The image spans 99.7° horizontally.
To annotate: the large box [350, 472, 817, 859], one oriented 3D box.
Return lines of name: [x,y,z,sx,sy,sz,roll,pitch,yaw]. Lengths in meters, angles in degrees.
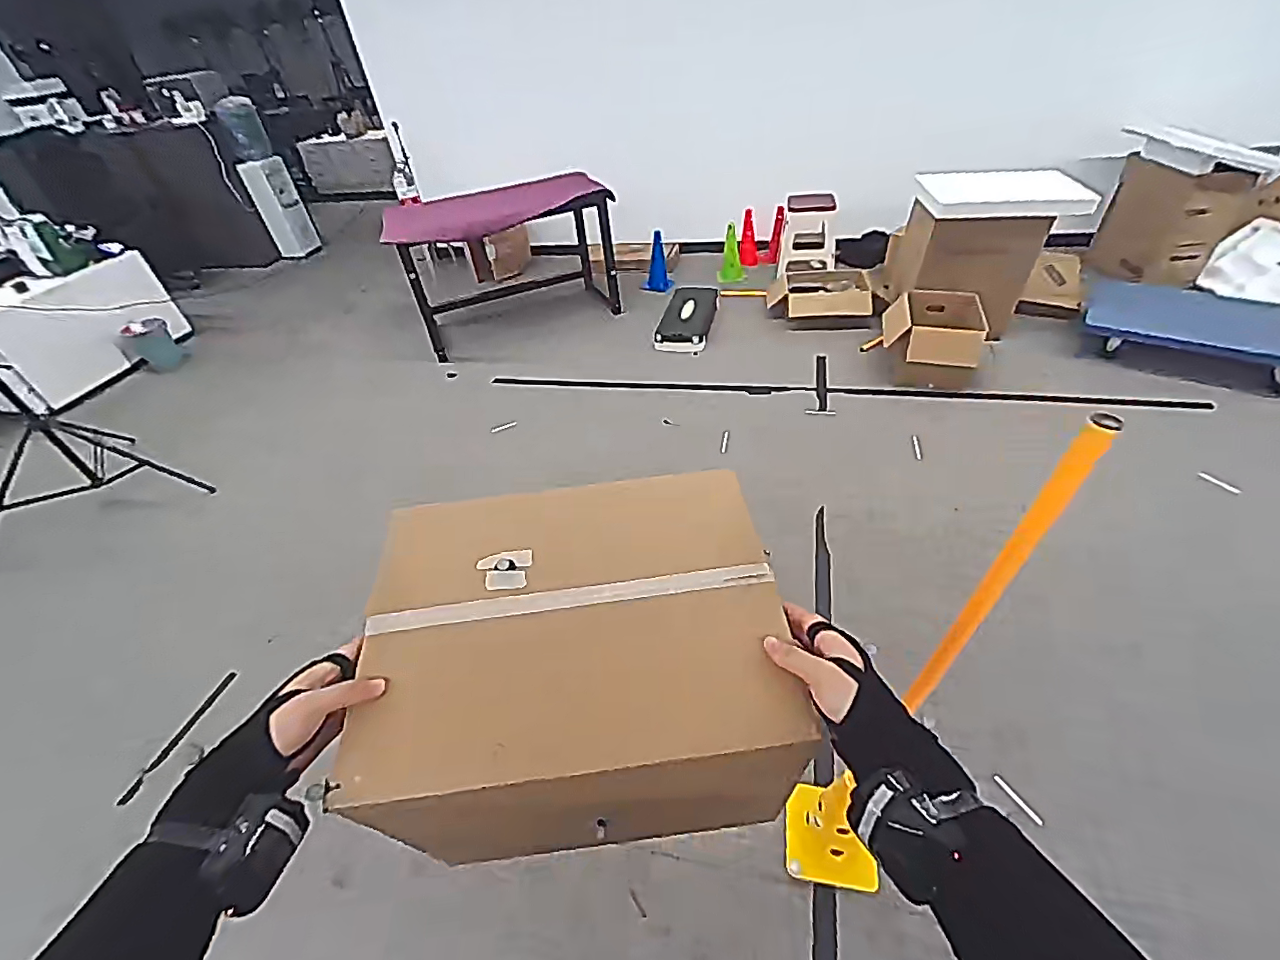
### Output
large box: [-0.050,0.229,0.660,0.408,0.320,0.320,-8,46,-1]
